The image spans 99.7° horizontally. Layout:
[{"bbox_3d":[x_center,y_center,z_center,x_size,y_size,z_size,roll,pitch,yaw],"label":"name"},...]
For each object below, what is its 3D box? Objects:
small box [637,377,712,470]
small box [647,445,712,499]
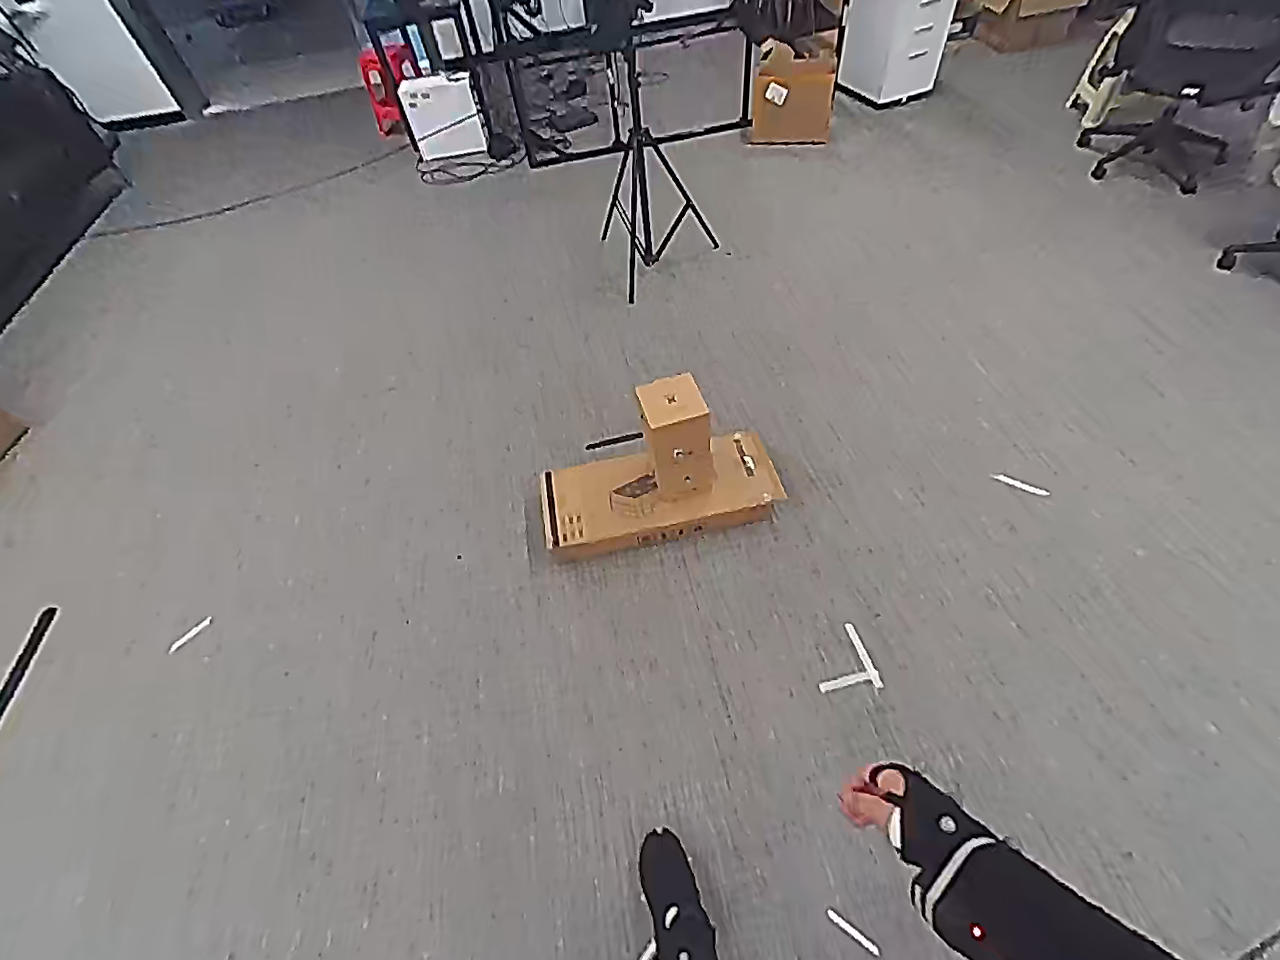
[{"bbox_3d":[0.096,-0.158,1.527,0.168,0.176,0.179,-17,52,-5],"label":"small box"},{"bbox_3d":[0.120,-0.060,1.655,0.168,0.176,0.179,-14,52,-4],"label":"small box"}]
